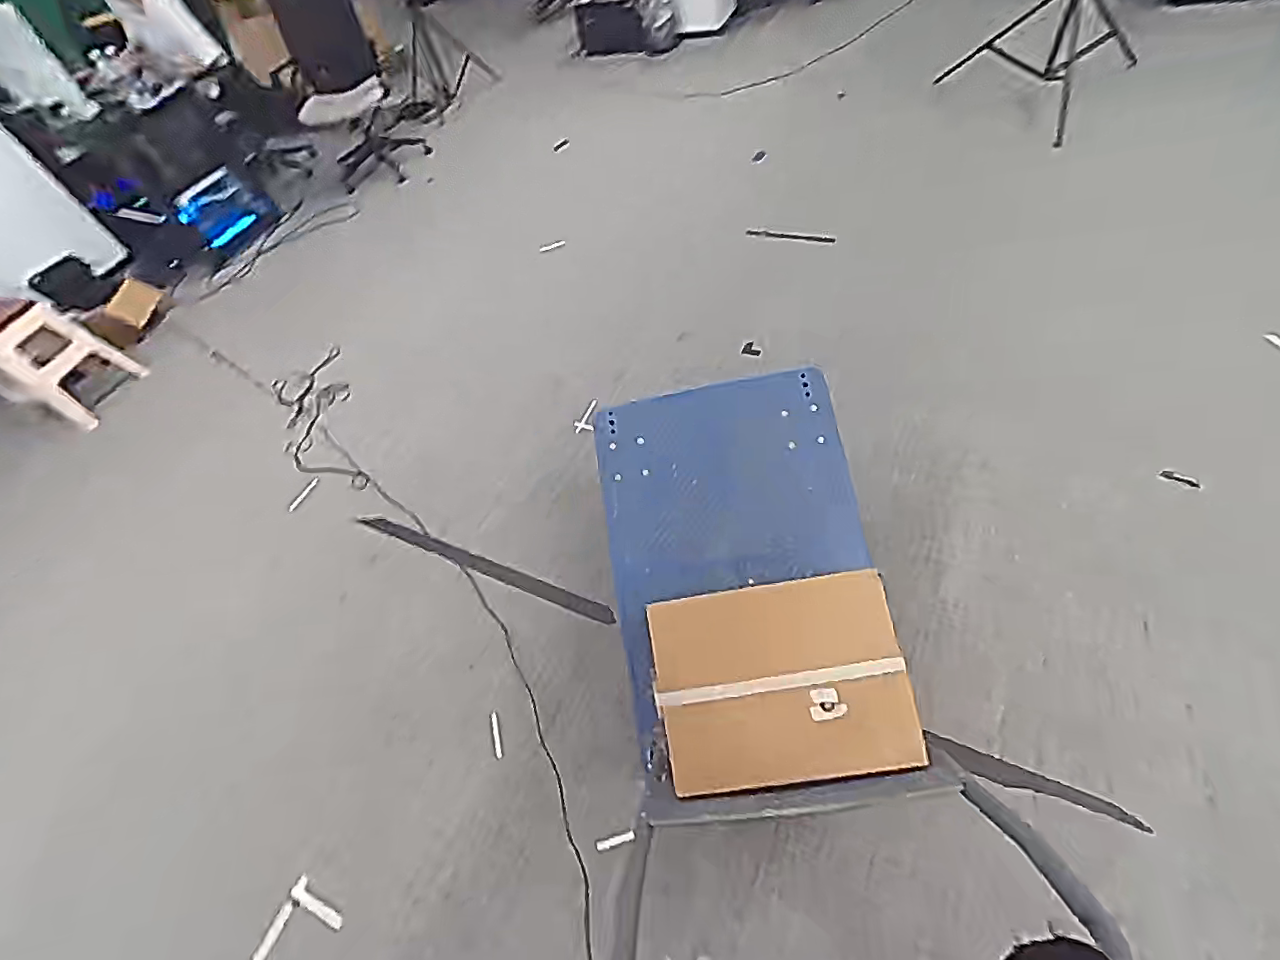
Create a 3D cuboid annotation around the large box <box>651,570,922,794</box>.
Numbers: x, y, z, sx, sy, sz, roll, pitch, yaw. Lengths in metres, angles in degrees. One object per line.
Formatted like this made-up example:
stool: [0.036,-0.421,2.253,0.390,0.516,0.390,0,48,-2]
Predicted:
large box: [0.253,0.371,1.060,0.408,0.320,0.320,-10,78,5]
